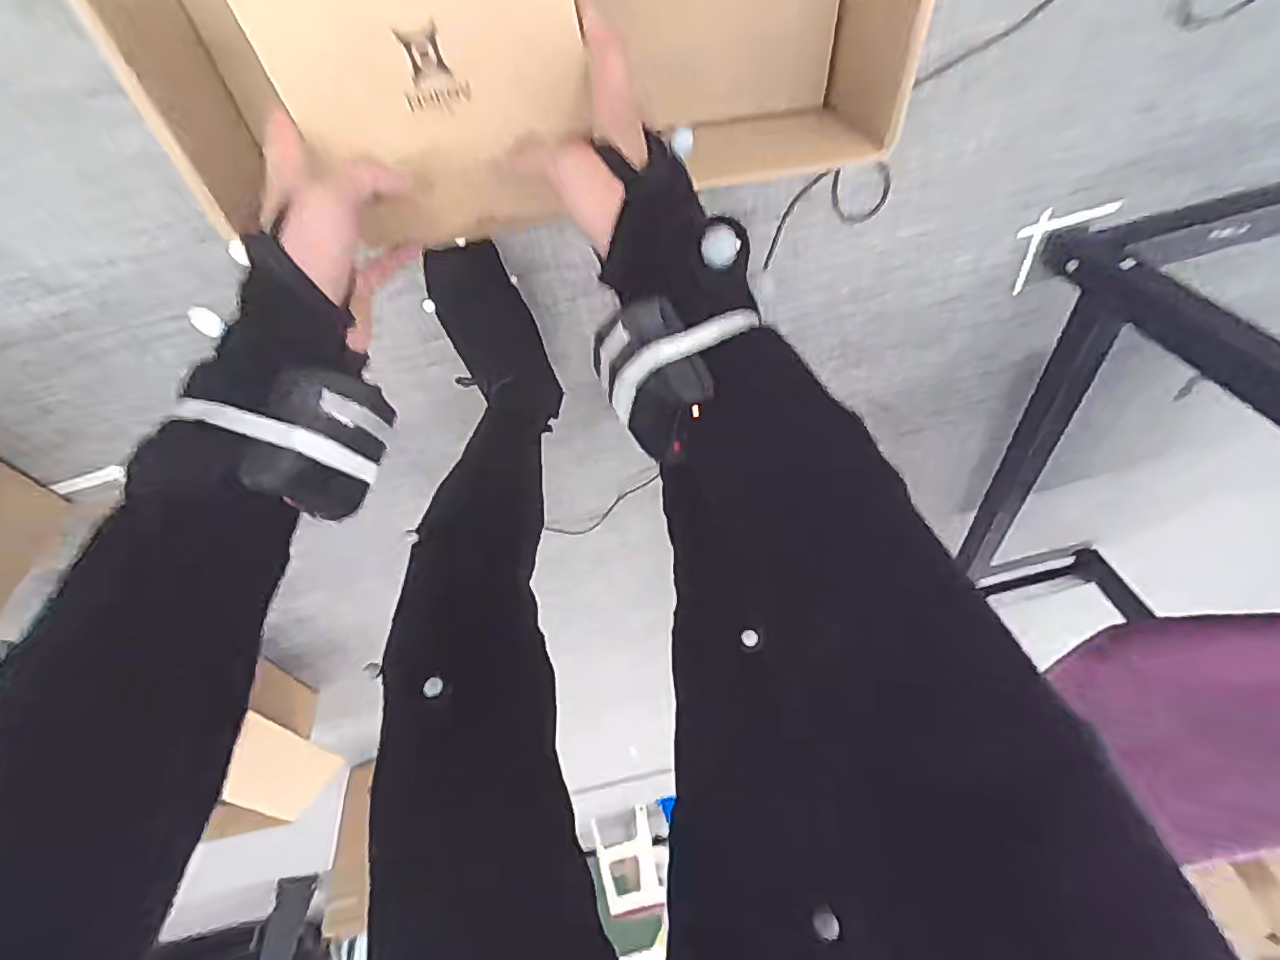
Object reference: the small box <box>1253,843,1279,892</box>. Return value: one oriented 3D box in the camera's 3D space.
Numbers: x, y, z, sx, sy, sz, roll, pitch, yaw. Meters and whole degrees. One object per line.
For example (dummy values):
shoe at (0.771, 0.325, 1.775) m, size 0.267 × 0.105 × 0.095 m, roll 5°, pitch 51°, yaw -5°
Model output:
small box at (1.098, 0.614, 0.794) m, size 0.179 × 0.176 × 0.168 m, roll -18°, pitch 138°, yaw 4°

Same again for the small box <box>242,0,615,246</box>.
small box at (-0.111, -0.280, 0.335) m, size 0.168 × 0.176 × 0.179 m, roll -9°, pitch 140°, yaw 3°
